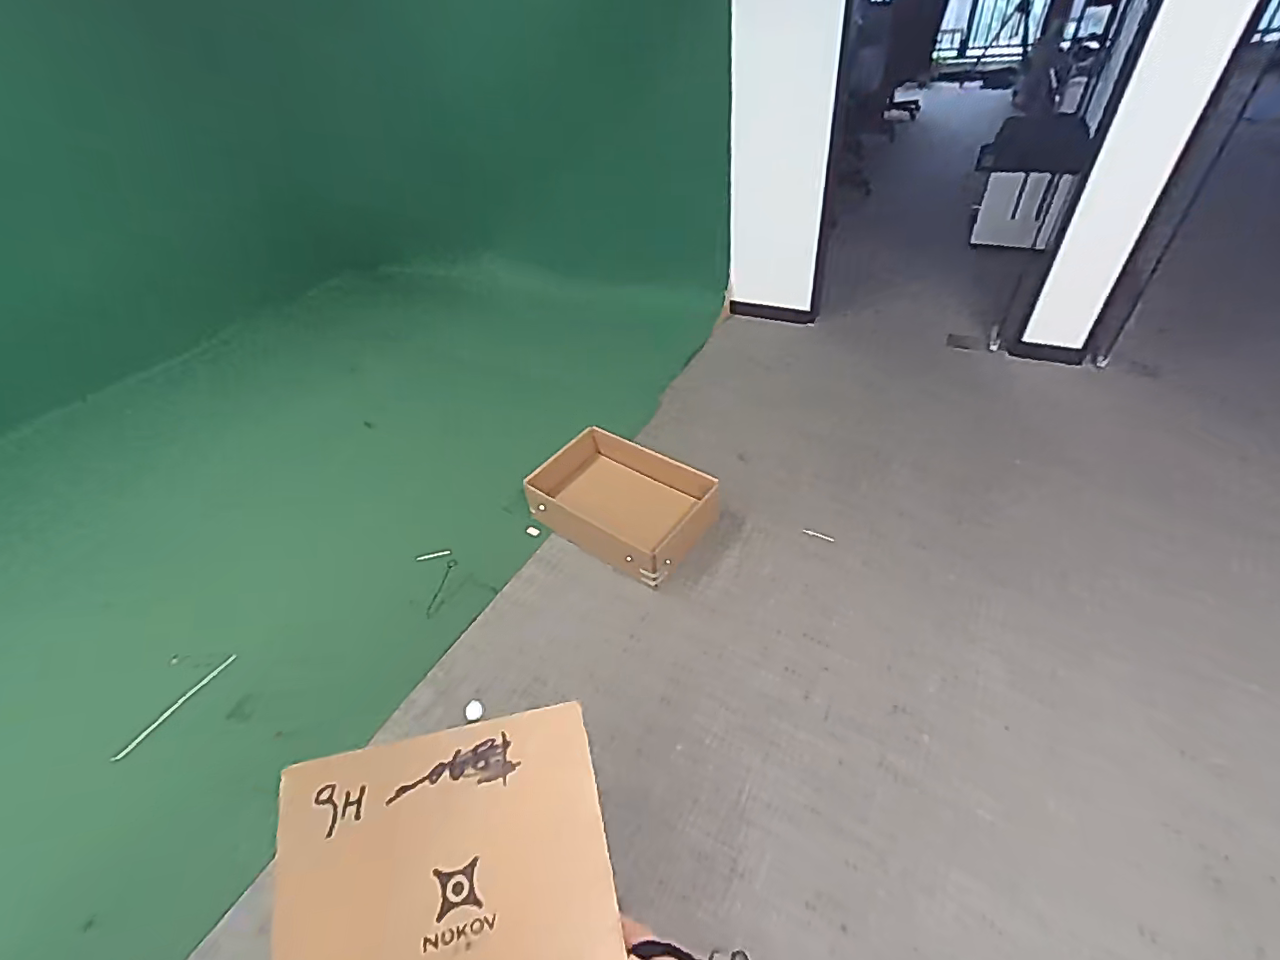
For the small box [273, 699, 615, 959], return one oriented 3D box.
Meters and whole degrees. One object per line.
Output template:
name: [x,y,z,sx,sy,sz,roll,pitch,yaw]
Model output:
small box: [-0.118,0.258,0.353,0.168,0.176,0.179,-5,63,-19]
